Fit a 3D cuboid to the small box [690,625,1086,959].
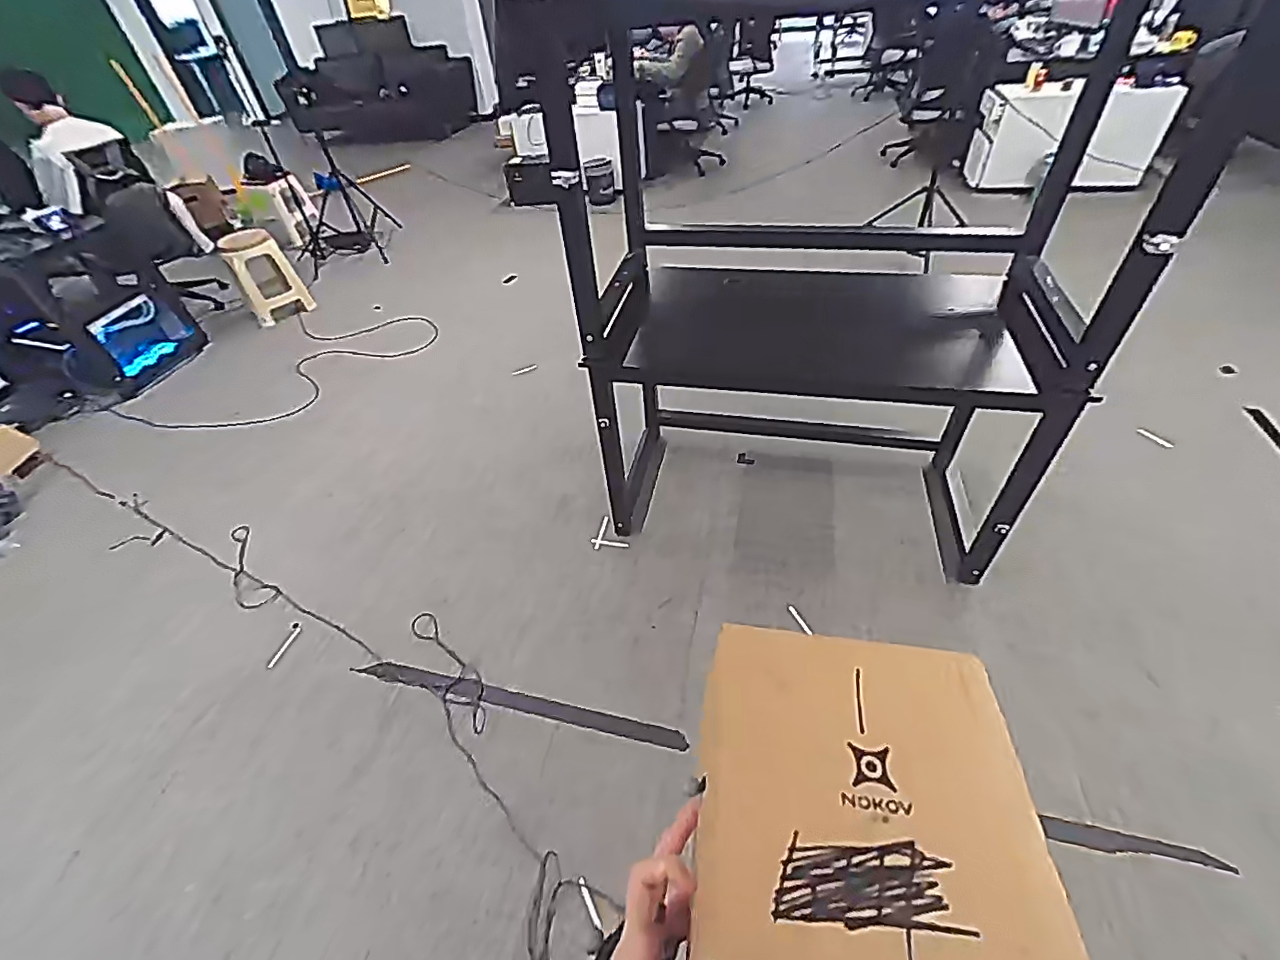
[{"bbox_3d":[0.123,0.221,0.342,0.168,0.176,0.179,6,42,5],"label":"small box"}]
